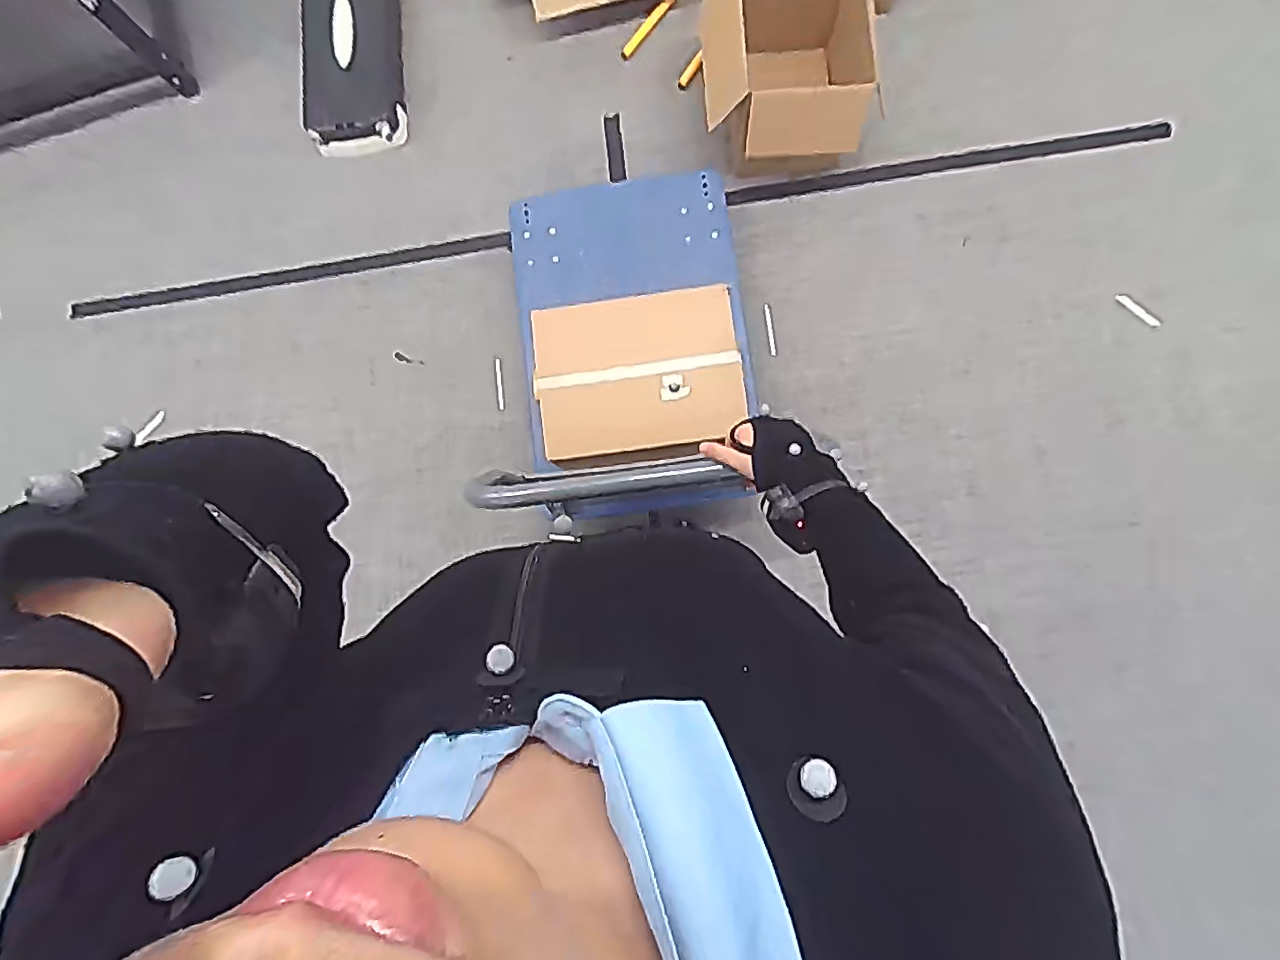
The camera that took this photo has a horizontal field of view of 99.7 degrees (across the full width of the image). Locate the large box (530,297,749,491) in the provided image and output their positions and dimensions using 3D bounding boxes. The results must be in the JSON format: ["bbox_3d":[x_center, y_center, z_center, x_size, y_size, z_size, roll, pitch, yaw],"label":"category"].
[{"bbox_3d":[-0.002,-0.168,1.207,0.408,0.320,0.320,-7,83,1],"label":"large box"}]
